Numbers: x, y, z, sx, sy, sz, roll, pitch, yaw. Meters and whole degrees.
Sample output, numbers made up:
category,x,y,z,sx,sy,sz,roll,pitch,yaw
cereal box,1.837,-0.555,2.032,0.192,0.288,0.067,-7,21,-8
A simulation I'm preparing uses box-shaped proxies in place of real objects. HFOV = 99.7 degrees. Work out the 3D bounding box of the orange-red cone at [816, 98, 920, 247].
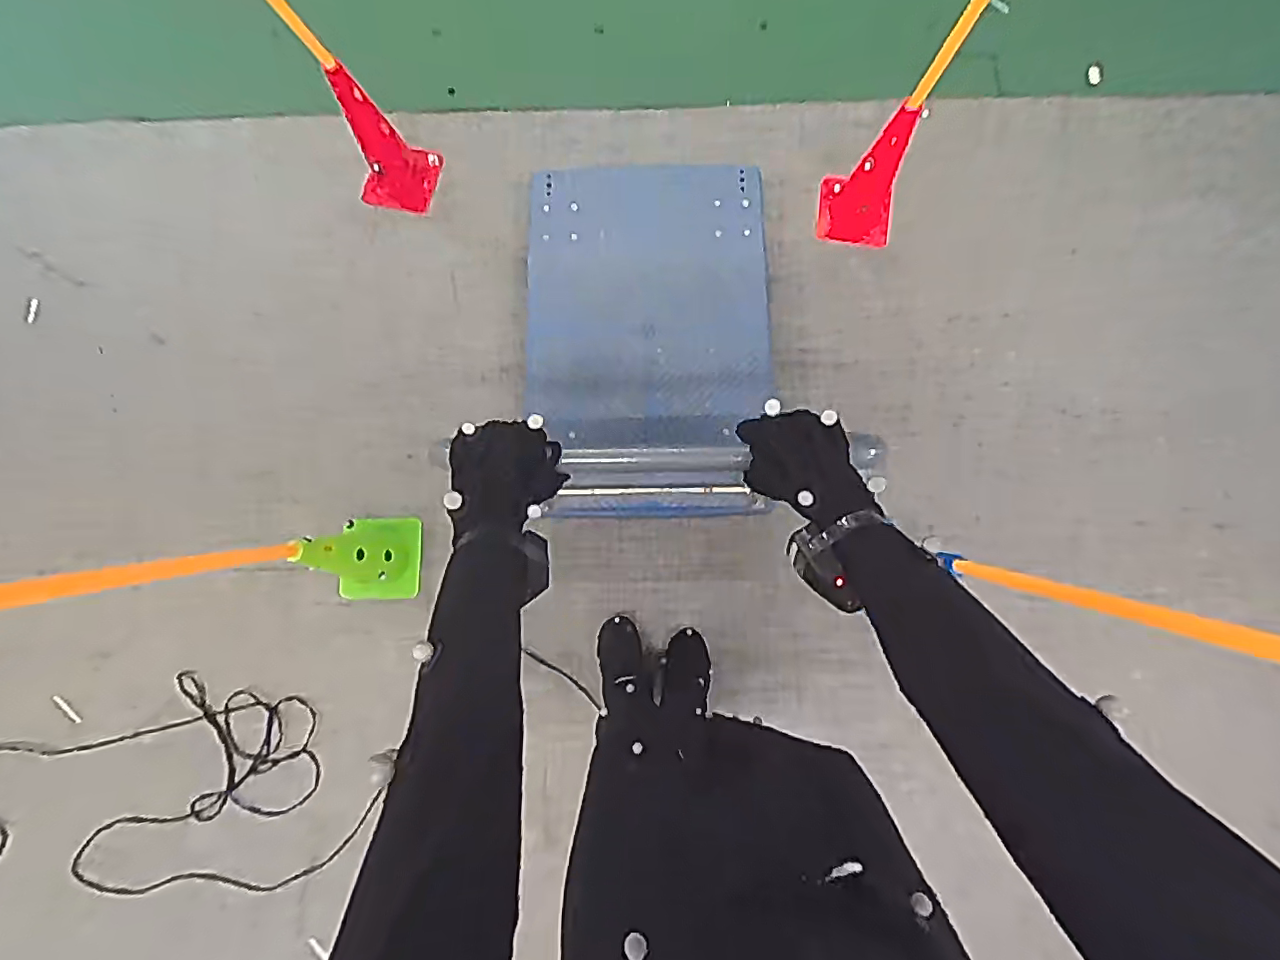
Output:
category,x,y,z,sx,sy,sz,roll,pitch,yaw
orange-red cone,0.596,-0.779,1.343,0.198,0.360,0.199,10,81,4
